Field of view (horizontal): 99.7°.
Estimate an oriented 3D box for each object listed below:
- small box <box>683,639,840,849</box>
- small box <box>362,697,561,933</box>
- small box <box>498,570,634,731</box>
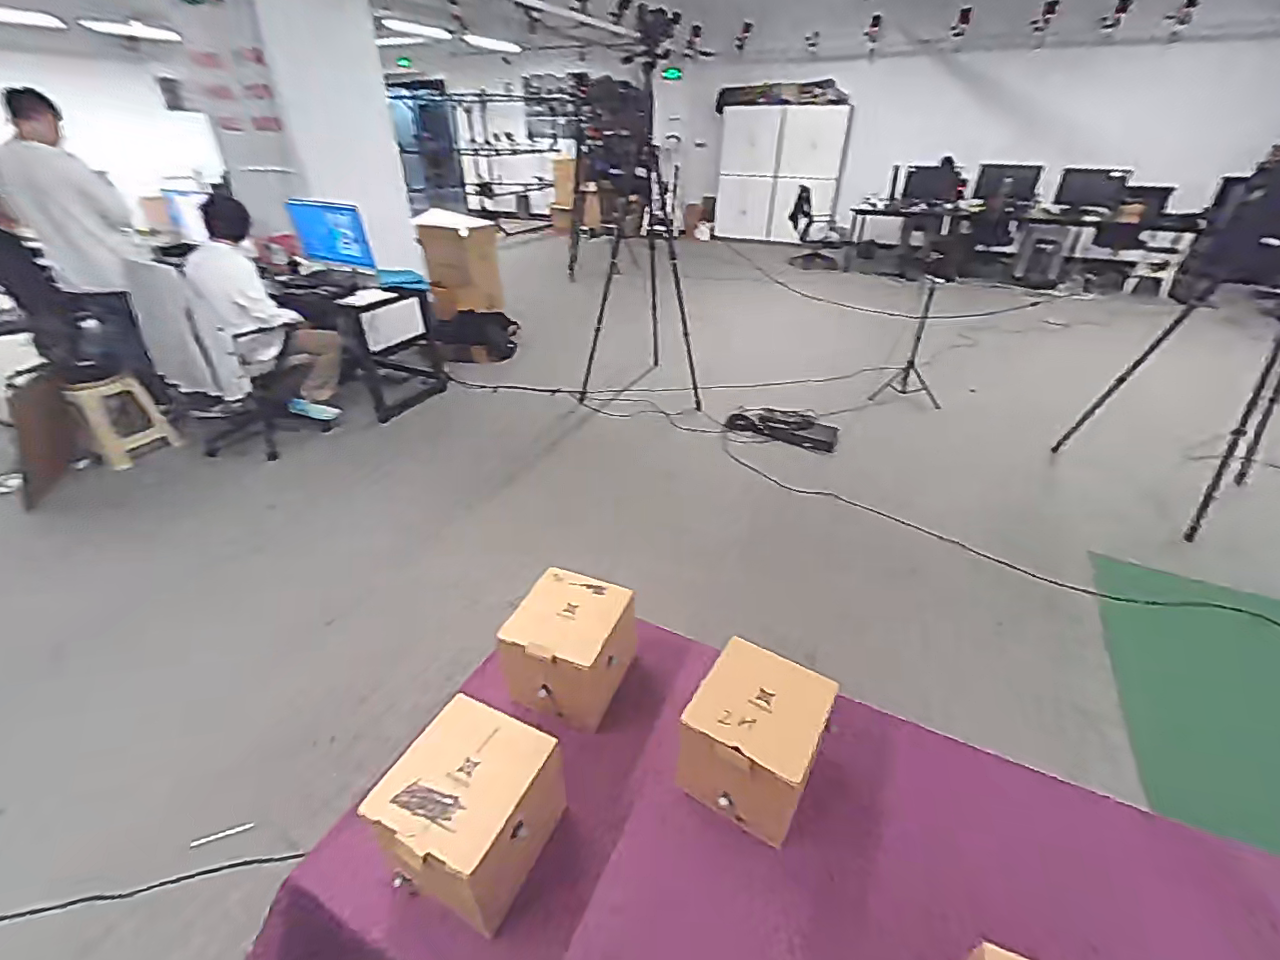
[{"bbox_3d":[0.170,0.375,0.784,0.168,0.176,0.179,19,38,28],"label":"small box"},{"bbox_3d":[-0.215,0.429,0.702,0.168,0.176,0.179,15,34,21],"label":"small box"},{"bbox_3d":[-0.114,0.289,0.922,0.168,0.176,0.179,13,36,19],"label":"small box"}]
